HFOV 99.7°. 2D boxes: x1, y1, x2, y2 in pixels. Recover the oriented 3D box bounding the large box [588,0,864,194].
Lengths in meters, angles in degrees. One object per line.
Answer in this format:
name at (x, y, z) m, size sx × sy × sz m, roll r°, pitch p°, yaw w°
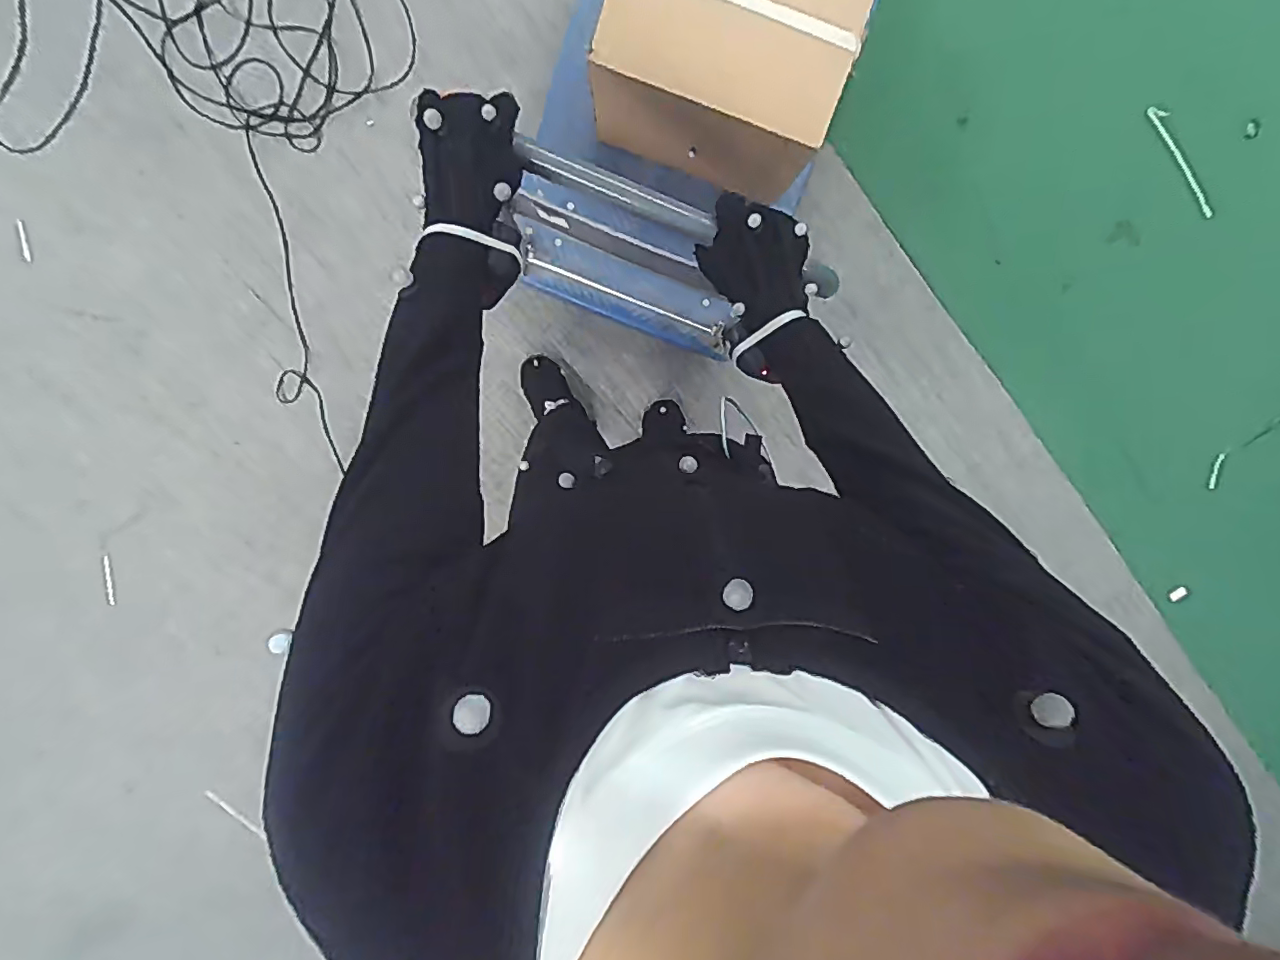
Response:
large box at (0.150, -0.792, 1.003) m, size 0.408 × 0.320 × 0.320 m, roll 18°, pitch 100°, yaw -4°
